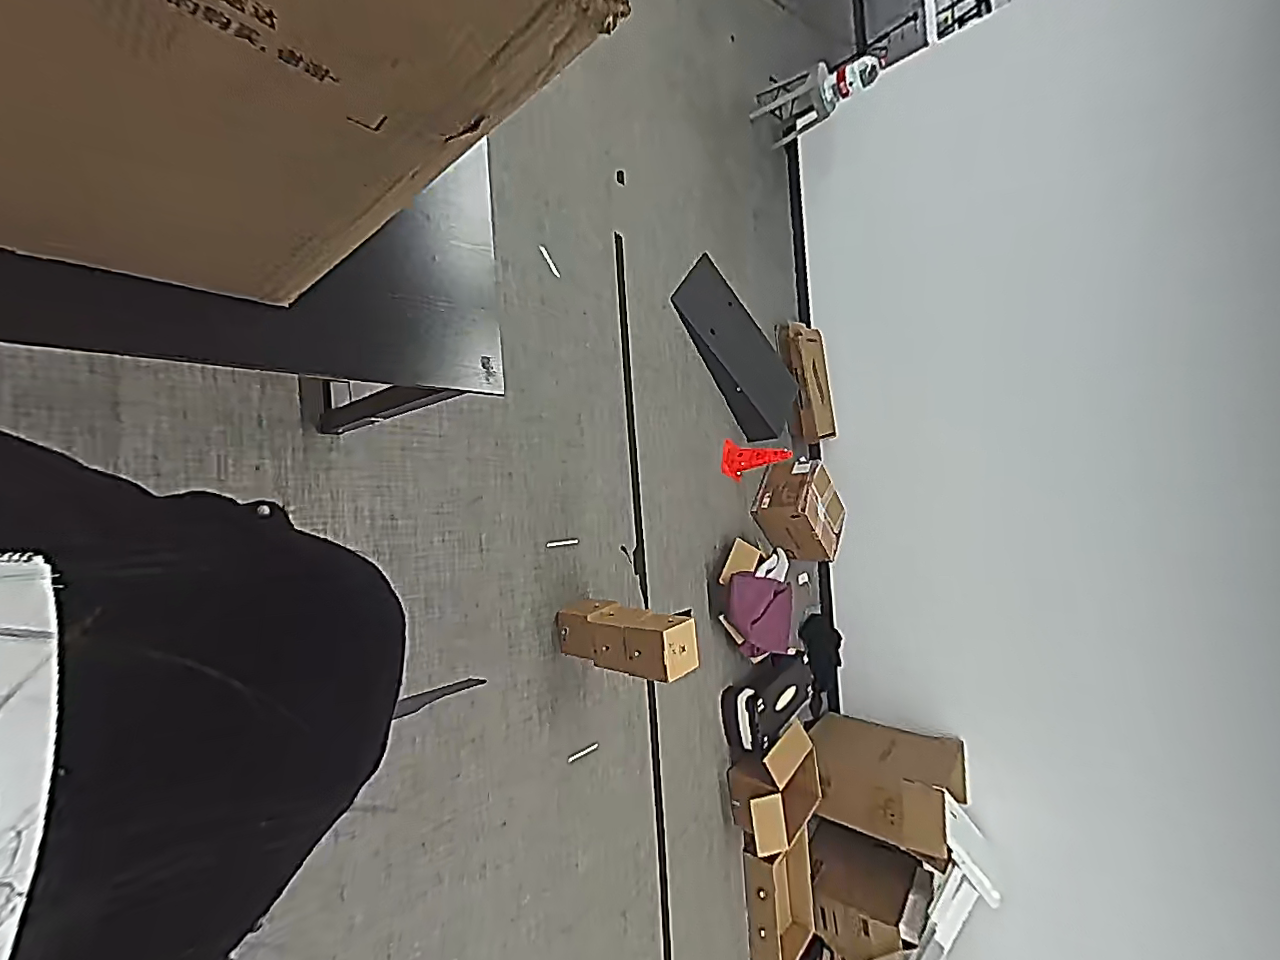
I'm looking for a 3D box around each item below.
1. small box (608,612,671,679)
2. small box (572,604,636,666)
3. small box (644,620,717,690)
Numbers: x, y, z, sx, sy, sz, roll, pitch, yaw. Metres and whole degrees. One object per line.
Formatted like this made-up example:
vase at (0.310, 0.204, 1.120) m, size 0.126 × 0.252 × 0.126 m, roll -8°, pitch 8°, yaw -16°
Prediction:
small box at (0.002, 0.570, 1.884) m, size 0.179 × 0.176 × 0.168 m, roll -13°, pitch 96°, yaw -49°
small box at (-0.124, 0.562, 1.990) m, size 0.179 × 0.176 × 0.168 m, roll -12°, pitch 95°, yaw -49°
small box at (0.132, 0.568, 1.781) m, size 0.179 × 0.176 × 0.168 m, roll -6°, pitch 90°, yaw -50°
